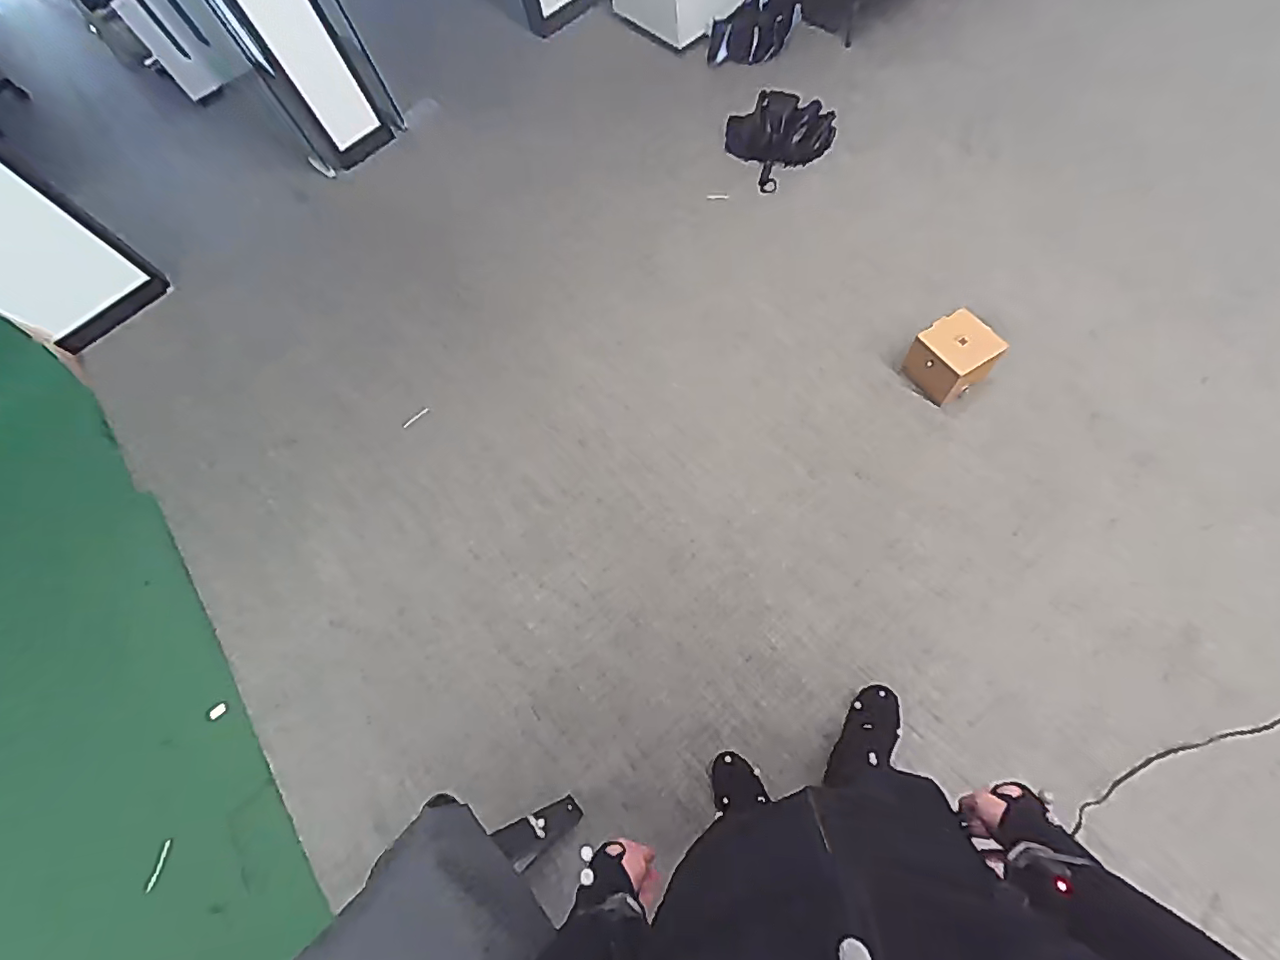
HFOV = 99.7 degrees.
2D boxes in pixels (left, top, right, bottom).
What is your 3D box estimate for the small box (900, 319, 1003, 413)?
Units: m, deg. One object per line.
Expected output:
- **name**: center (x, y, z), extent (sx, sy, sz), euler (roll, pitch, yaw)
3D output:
- **small box**: center (0.908, -0.332, 1.597), extent (0.168, 0.176, 0.179), euler (-30, 66, -4)
